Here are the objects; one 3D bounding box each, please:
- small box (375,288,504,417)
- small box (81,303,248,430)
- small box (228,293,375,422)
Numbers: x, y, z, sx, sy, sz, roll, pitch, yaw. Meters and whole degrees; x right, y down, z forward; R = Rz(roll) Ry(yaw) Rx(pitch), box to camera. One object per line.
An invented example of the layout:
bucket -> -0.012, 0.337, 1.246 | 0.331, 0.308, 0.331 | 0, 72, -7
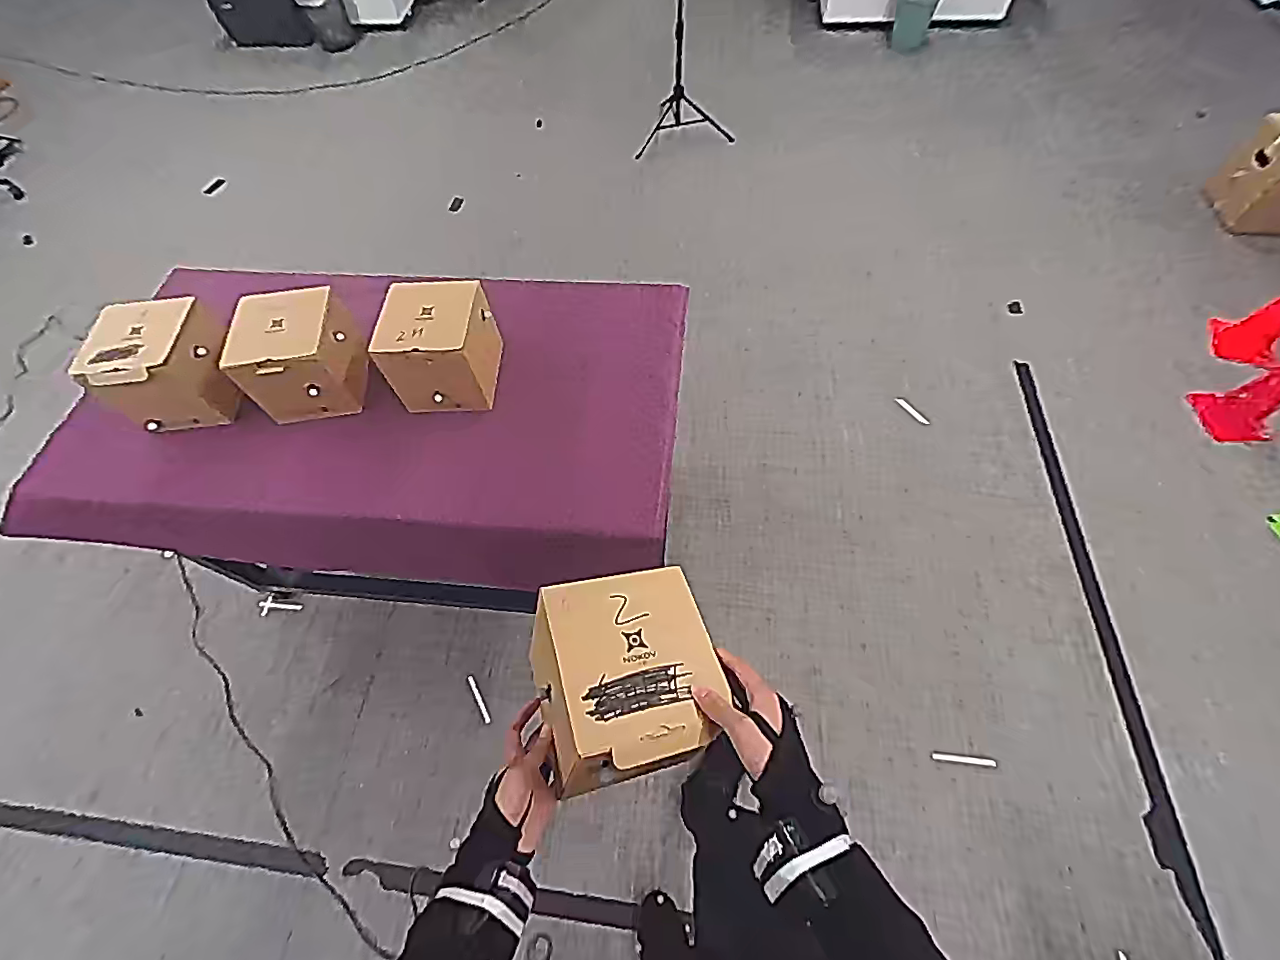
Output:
small box -> -0.365, -0.240, 1.026 | 0.168, 0.176, 0.179 | -1, 61, 3
small box -> -0.881, -0.208, 1.035 | 0.168, 0.176, 0.179 | -6, 60, -1
small box -> -0.631, -0.225, 1.034 | 0.168, 0.176, 0.179 | -7, 60, -2
